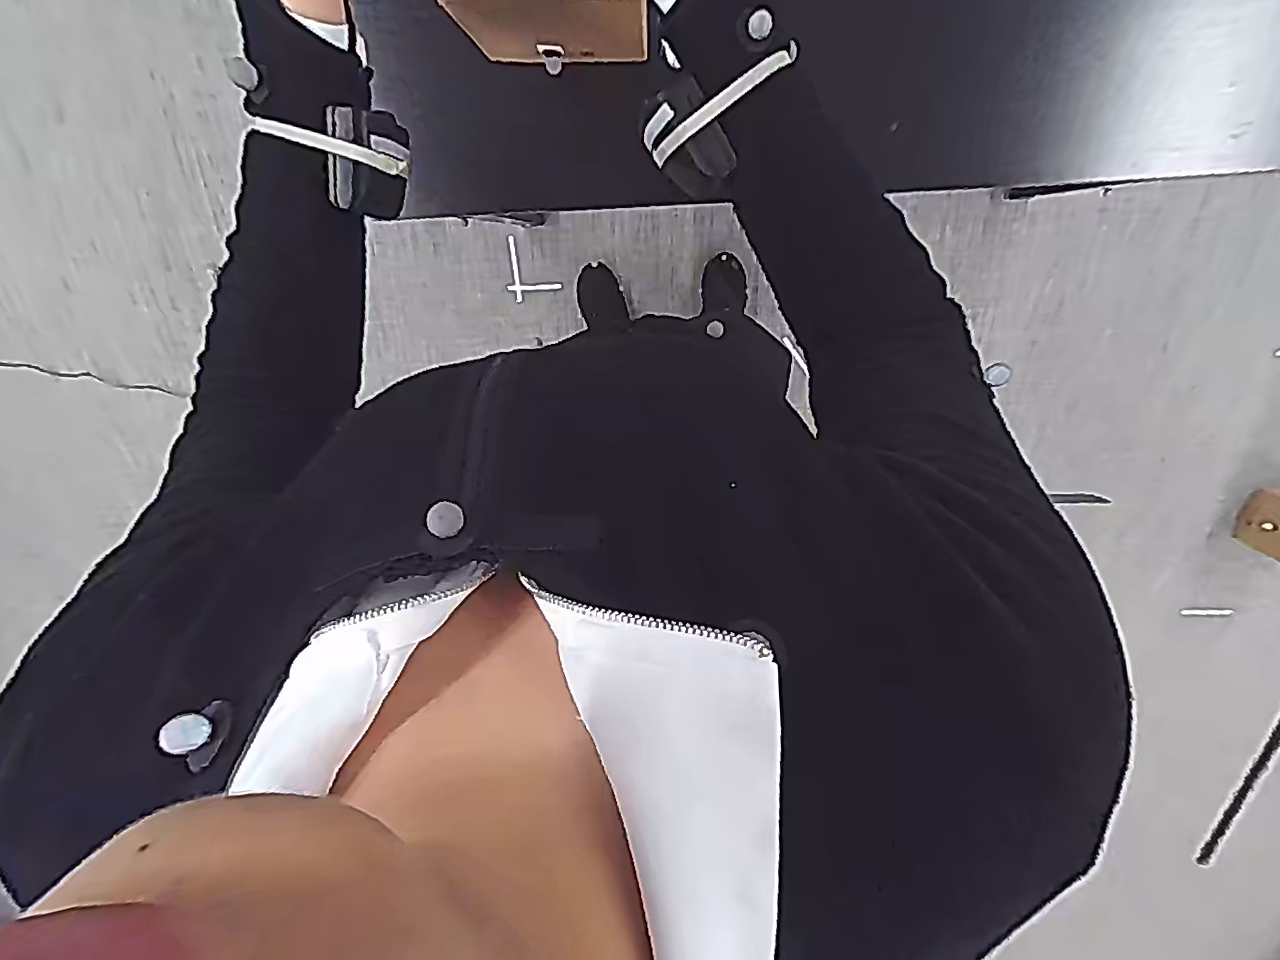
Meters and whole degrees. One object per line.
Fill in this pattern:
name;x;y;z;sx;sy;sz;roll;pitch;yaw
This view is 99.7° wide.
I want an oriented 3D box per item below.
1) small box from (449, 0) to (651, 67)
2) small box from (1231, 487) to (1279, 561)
small box;-0.073;-0.488;0.466;0.168;0.176;0.179;1;114;2
small box;1.797;0.125;1.469;0.179;0.176;0.168;1;114;3
